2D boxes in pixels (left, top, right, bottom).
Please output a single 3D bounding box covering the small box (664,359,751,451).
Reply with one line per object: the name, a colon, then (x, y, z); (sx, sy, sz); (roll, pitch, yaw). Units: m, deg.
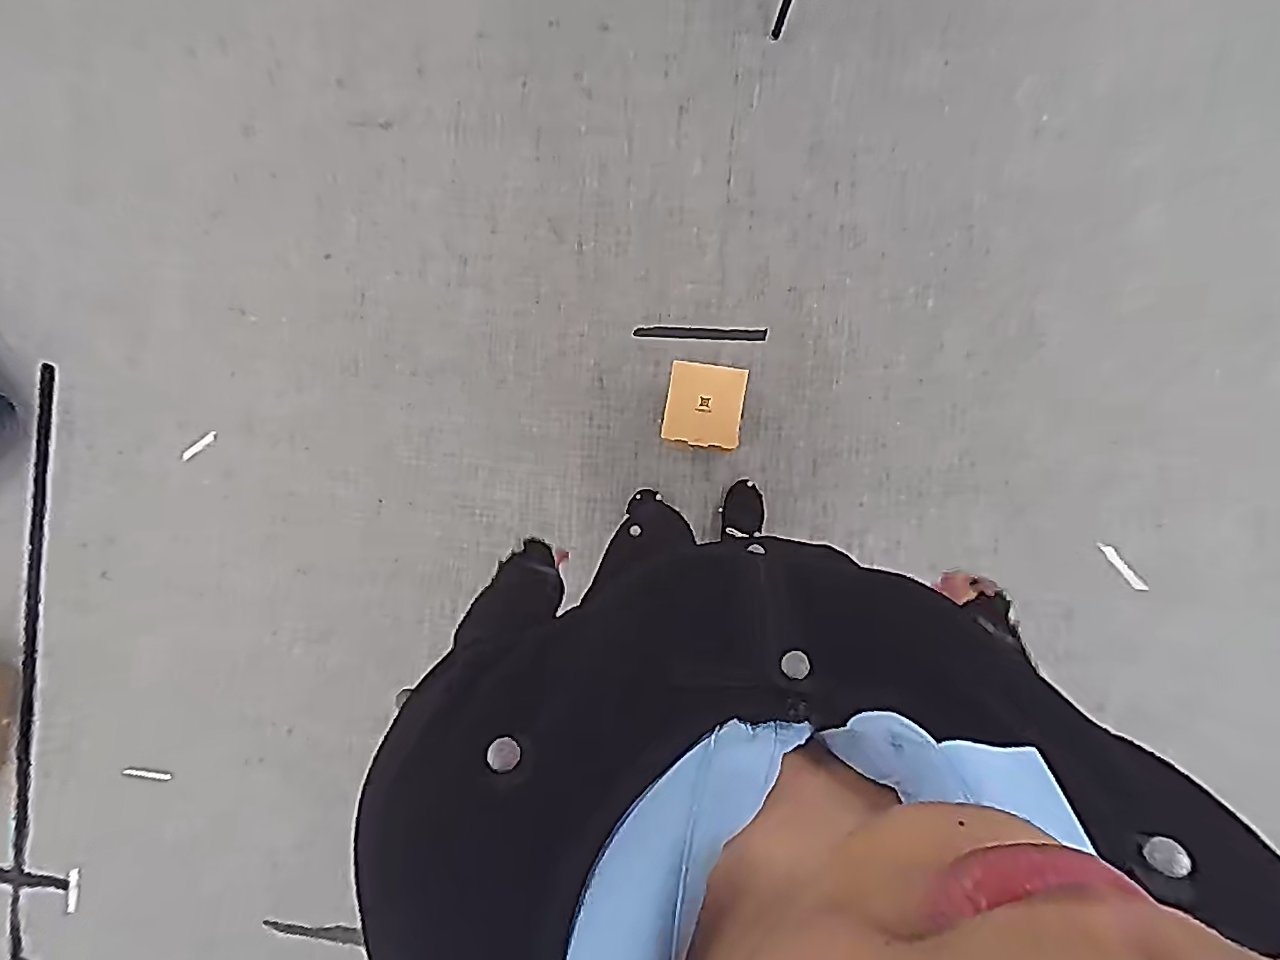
small box: (0.151, -0.165, 1.243); (0.168, 0.176, 0.179); (9, 92, 6)
